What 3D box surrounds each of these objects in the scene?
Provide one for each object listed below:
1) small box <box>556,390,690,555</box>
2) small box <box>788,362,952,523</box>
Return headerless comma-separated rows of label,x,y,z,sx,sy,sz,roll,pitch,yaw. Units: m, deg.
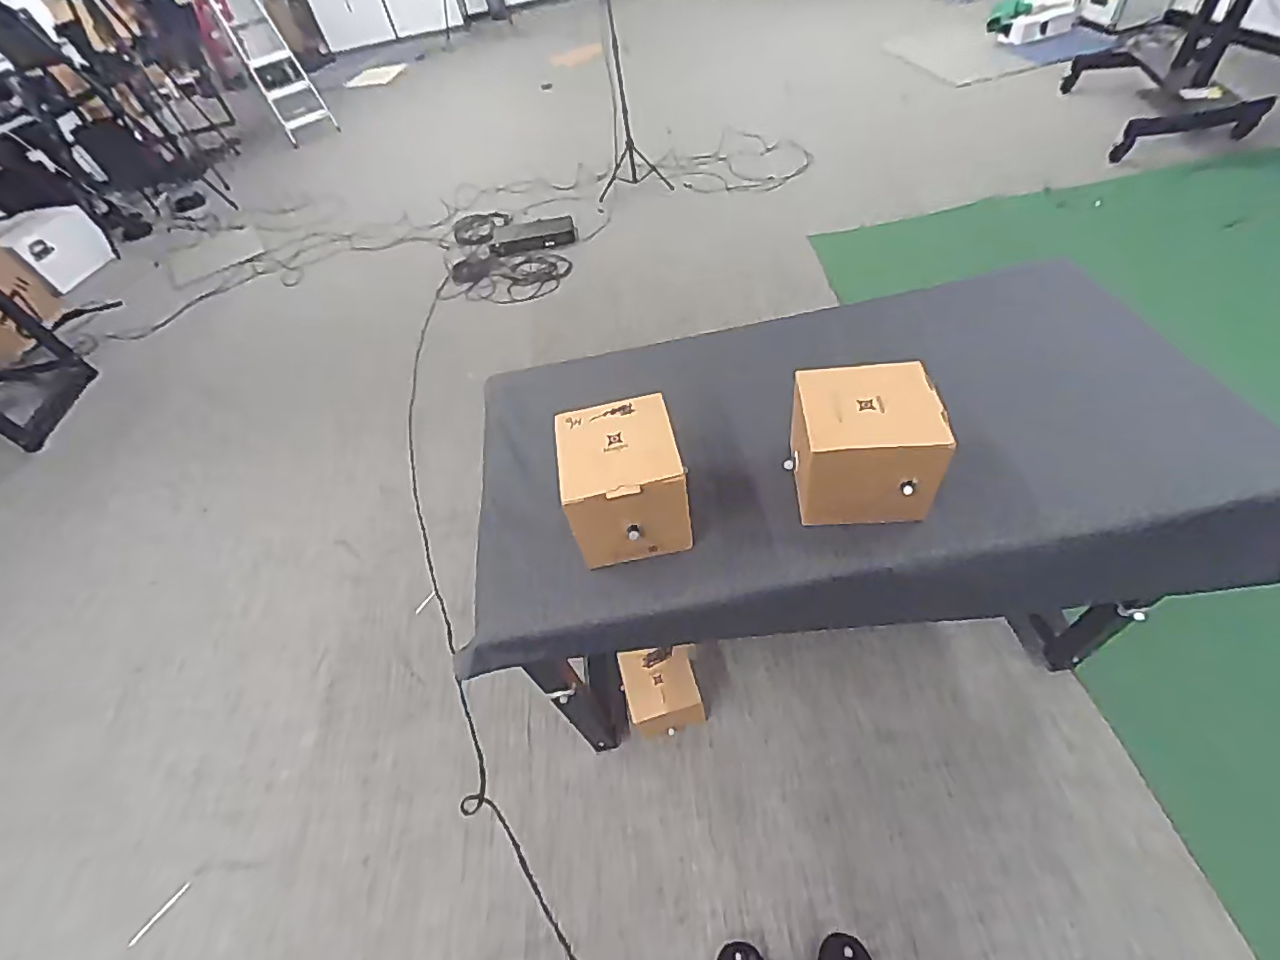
small box,-0.023,-0.003,0.814,0.168,0.176,0.179,-11,49,0
small box,0.321,-0.051,0.796,0.179,0.176,0.168,-4,49,8
